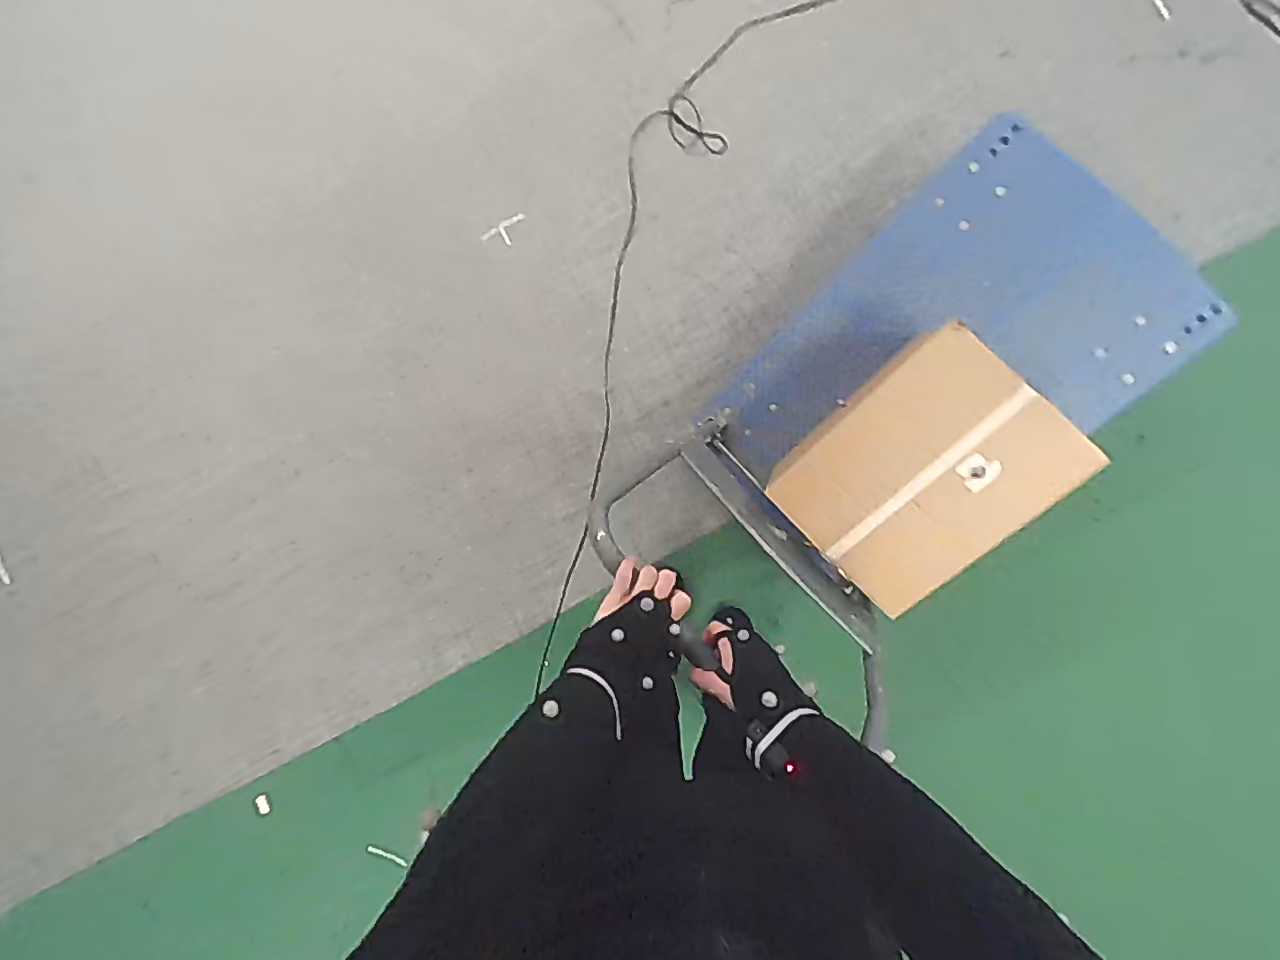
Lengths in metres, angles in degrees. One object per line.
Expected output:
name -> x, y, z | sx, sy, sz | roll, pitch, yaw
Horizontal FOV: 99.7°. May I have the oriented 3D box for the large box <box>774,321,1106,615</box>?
large box -> 0.513, -0.027, 1.026 | 0.320, 0.320, 0.408 | 46, 109, 5
